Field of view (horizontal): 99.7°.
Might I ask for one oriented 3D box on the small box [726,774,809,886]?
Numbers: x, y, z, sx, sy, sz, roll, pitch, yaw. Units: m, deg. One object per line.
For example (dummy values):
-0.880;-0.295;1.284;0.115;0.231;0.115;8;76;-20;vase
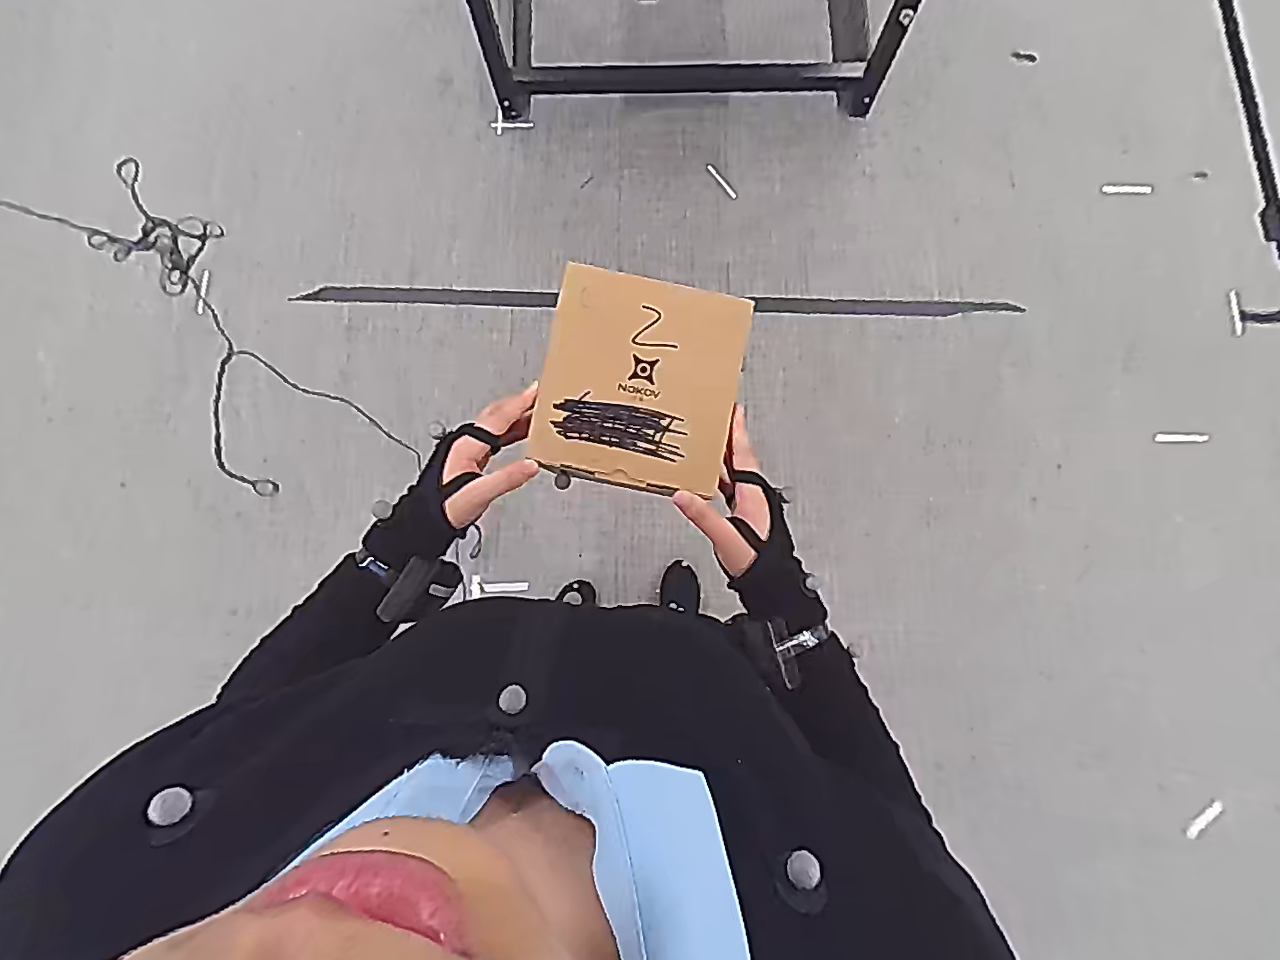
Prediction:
0.305;0.843;1.313;0.168;0.176;0.179;2;80;0;small box
